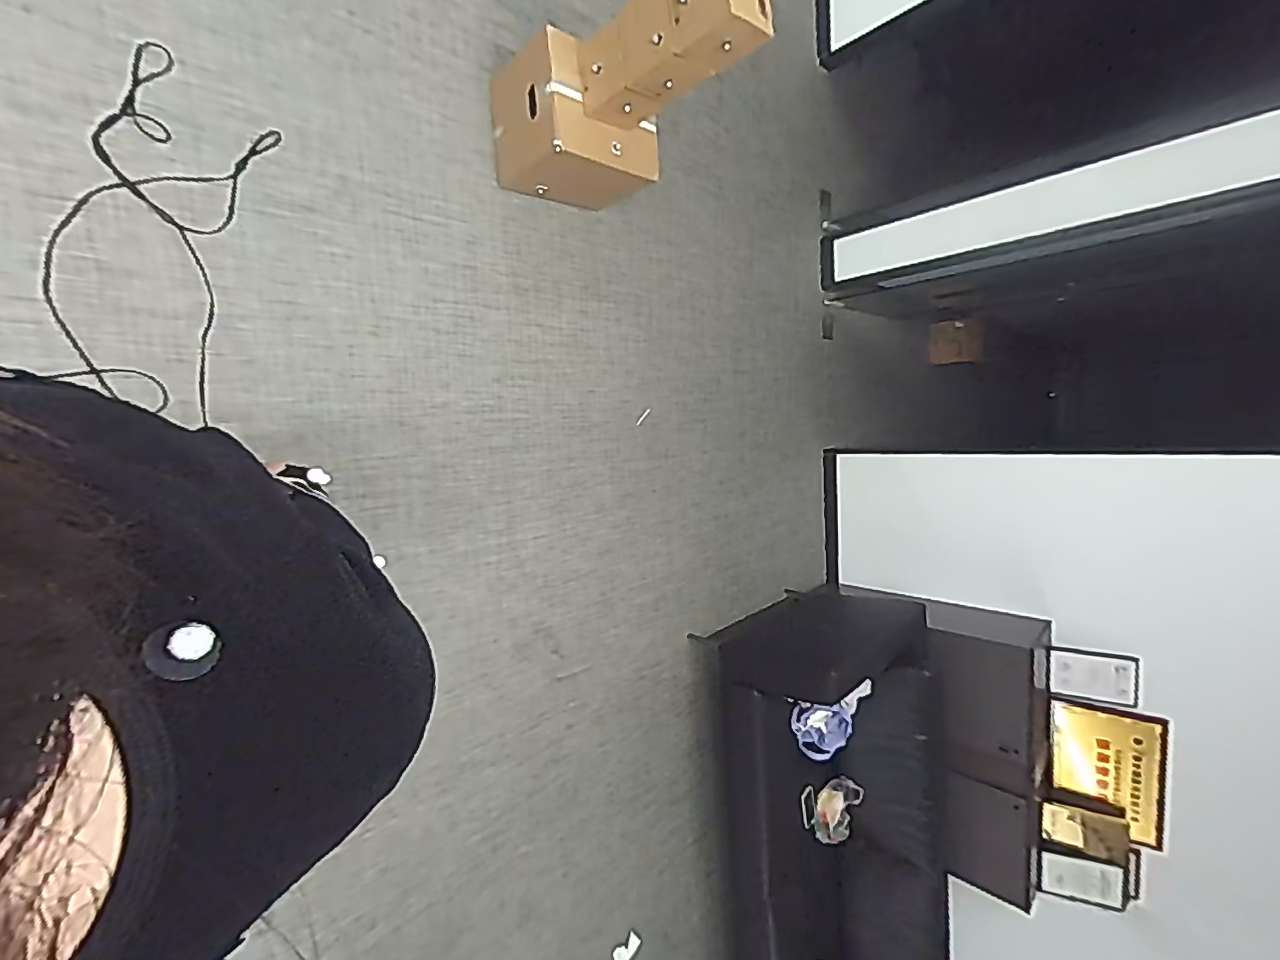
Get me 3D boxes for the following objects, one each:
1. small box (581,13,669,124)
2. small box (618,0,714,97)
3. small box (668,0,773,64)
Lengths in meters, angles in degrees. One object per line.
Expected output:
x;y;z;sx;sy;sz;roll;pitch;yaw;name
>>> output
-0.047;-1.121;1.491;0.179;0.176;0.168;-15;102;-42;small box
0.065;-1.117;1.369;0.168;0.176;0.179;-16;102;-43;small box
0.184;-1.111;1.255;0.179;0.176;0.168;-19;104;-41;small box
